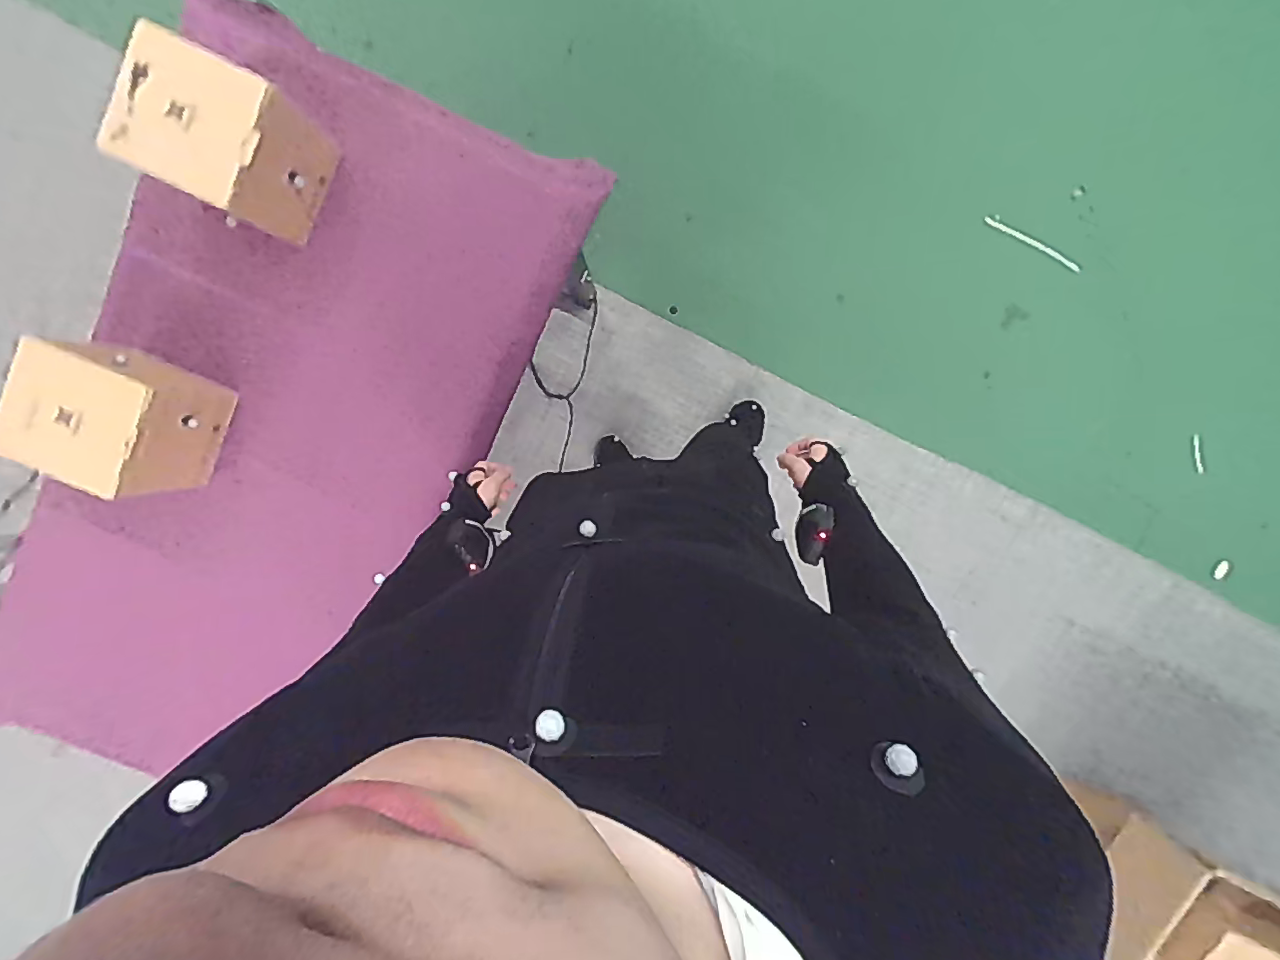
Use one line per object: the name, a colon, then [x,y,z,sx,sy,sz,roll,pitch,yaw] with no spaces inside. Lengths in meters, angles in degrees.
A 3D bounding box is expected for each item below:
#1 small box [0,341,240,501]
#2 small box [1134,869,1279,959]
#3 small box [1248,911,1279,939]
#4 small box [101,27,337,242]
small box: [-0.750,-0.087,0.800,0.179,0.176,0.168,24,96,-3]
small box: [1.308,1.041,1.230,0.179,0.176,0.168,28,96,-4]
small box: [1.530,1.160,1.250,0.179,0.176,0.168,27,96,0]
small box: [-0.567,-0.458,0.755,0.179,0.176,0.168,25,96,-3]
